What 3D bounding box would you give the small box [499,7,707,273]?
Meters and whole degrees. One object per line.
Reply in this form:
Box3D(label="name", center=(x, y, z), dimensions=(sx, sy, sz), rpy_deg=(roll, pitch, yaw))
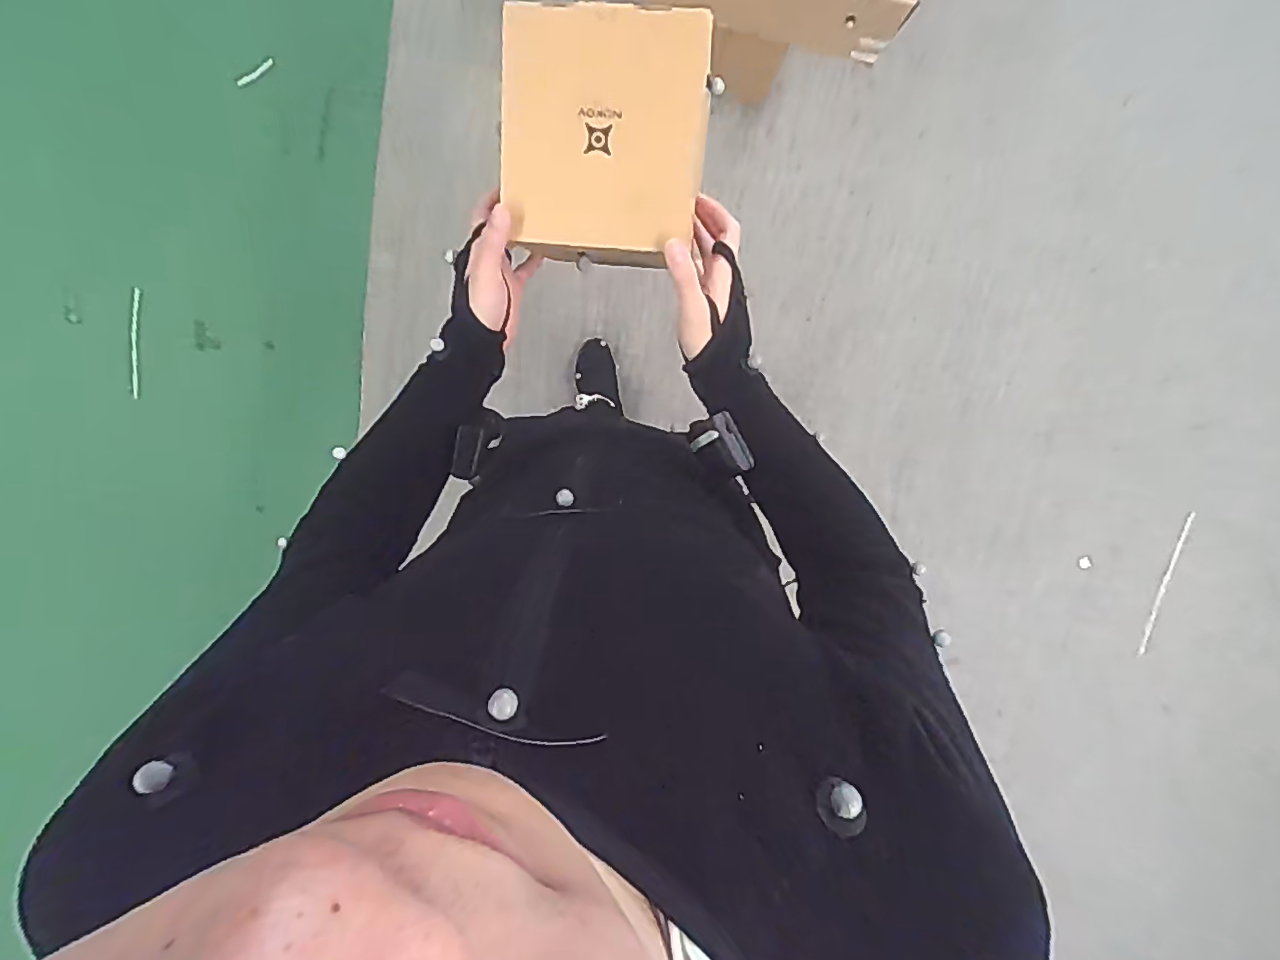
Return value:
Box3D(label="small box", center=(-0.026, -0.302, 0.520), dimensions=(0.168, 0.176, 0.179), rpy_deg=(6, 105, 5))
